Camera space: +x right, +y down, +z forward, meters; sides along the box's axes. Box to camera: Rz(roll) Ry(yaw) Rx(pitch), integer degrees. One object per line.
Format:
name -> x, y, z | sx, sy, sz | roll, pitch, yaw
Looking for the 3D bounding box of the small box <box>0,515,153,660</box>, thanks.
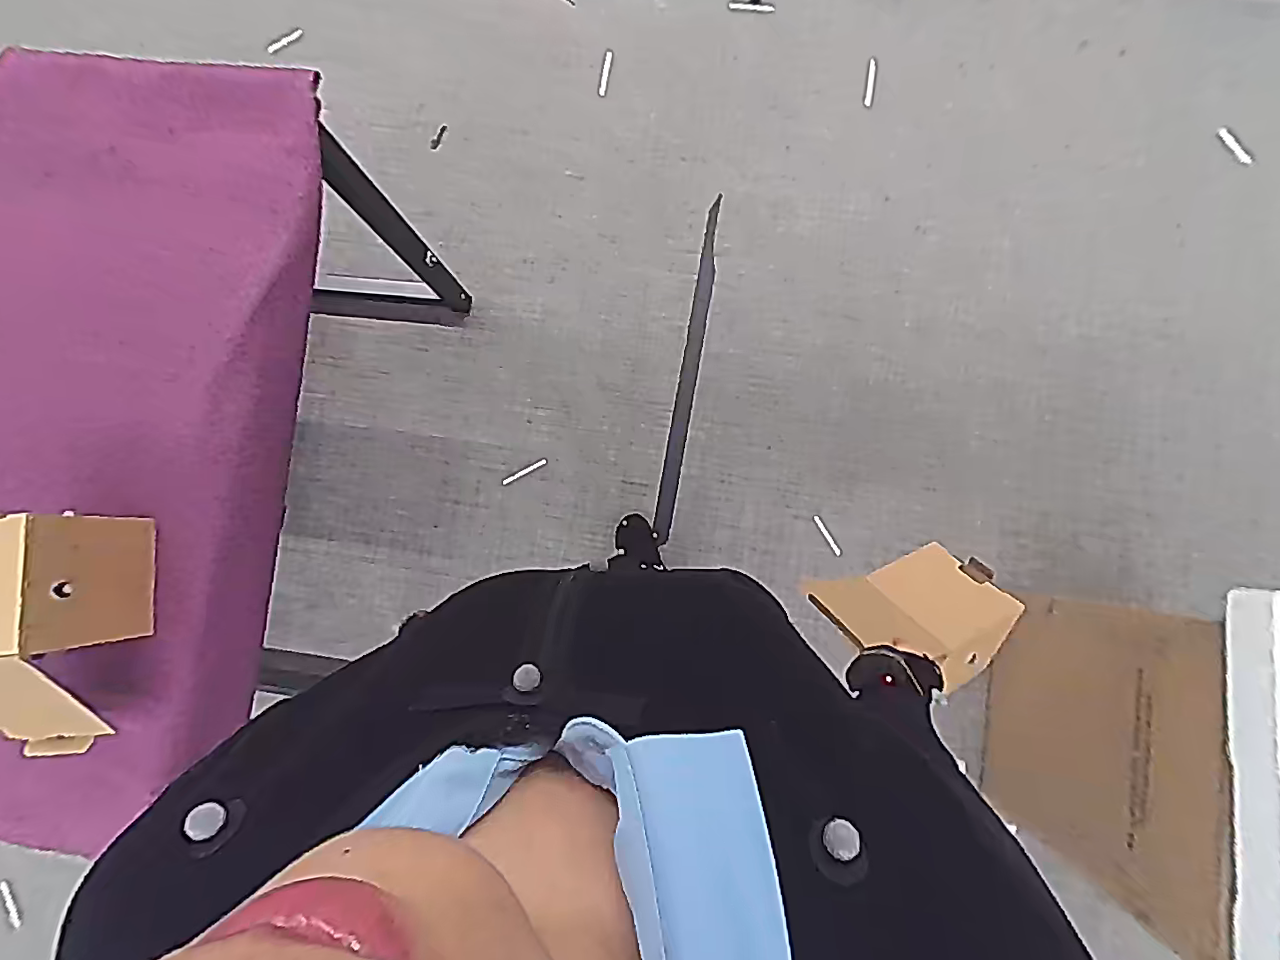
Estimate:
small box -> -0.819, 0.143, 0.737 | 0.168, 0.176, 0.179 | -5, 82, 4
